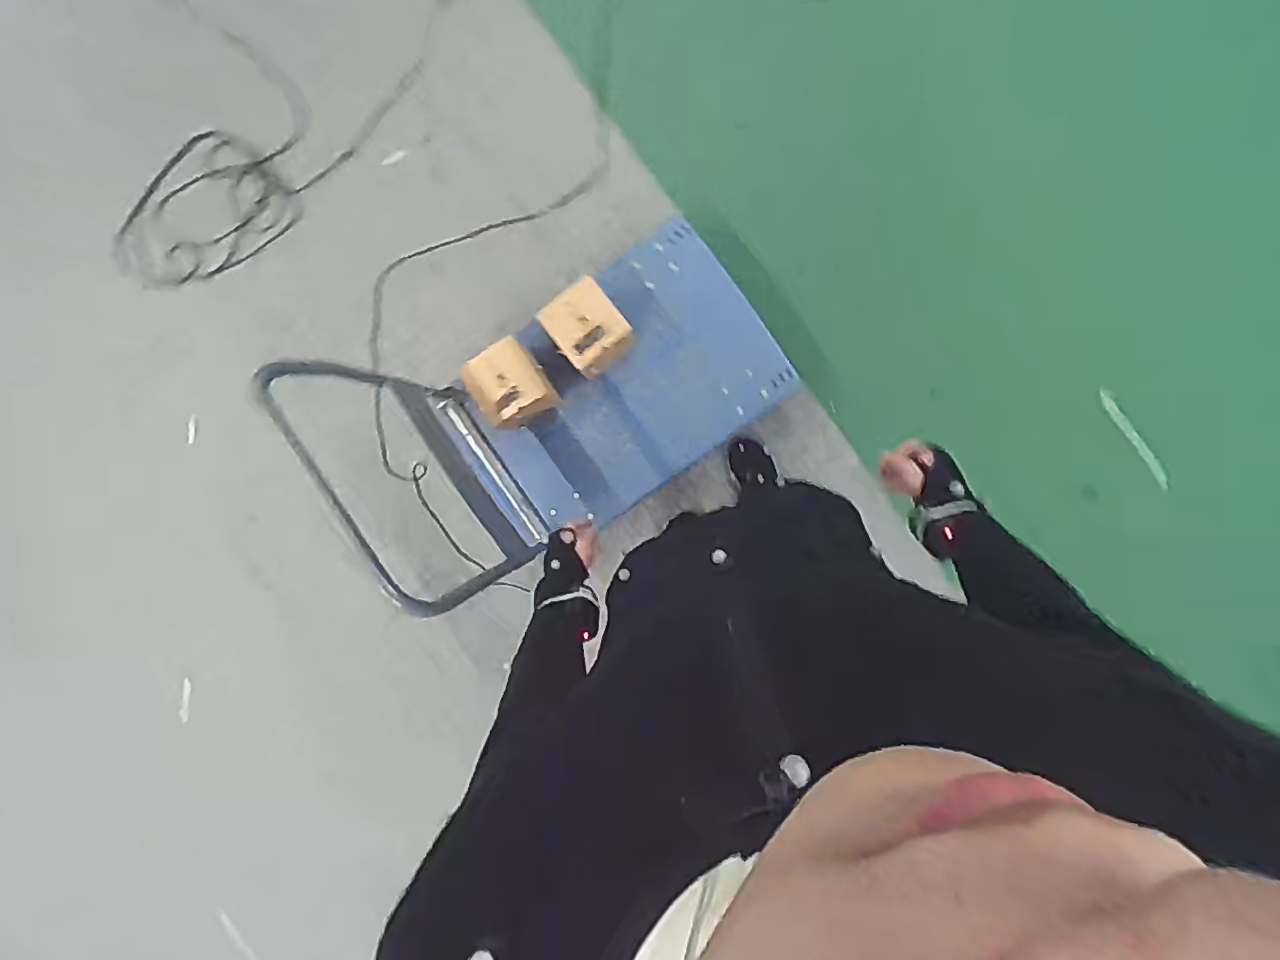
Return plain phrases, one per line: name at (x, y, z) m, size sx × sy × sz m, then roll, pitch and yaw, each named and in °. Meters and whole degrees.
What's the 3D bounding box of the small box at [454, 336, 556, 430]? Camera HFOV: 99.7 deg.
small box at (-0.340, -0.242, 1.402) m, size 0.168 × 0.176 × 0.179 m, roll -33°, pitch 88°, yaw 3°
